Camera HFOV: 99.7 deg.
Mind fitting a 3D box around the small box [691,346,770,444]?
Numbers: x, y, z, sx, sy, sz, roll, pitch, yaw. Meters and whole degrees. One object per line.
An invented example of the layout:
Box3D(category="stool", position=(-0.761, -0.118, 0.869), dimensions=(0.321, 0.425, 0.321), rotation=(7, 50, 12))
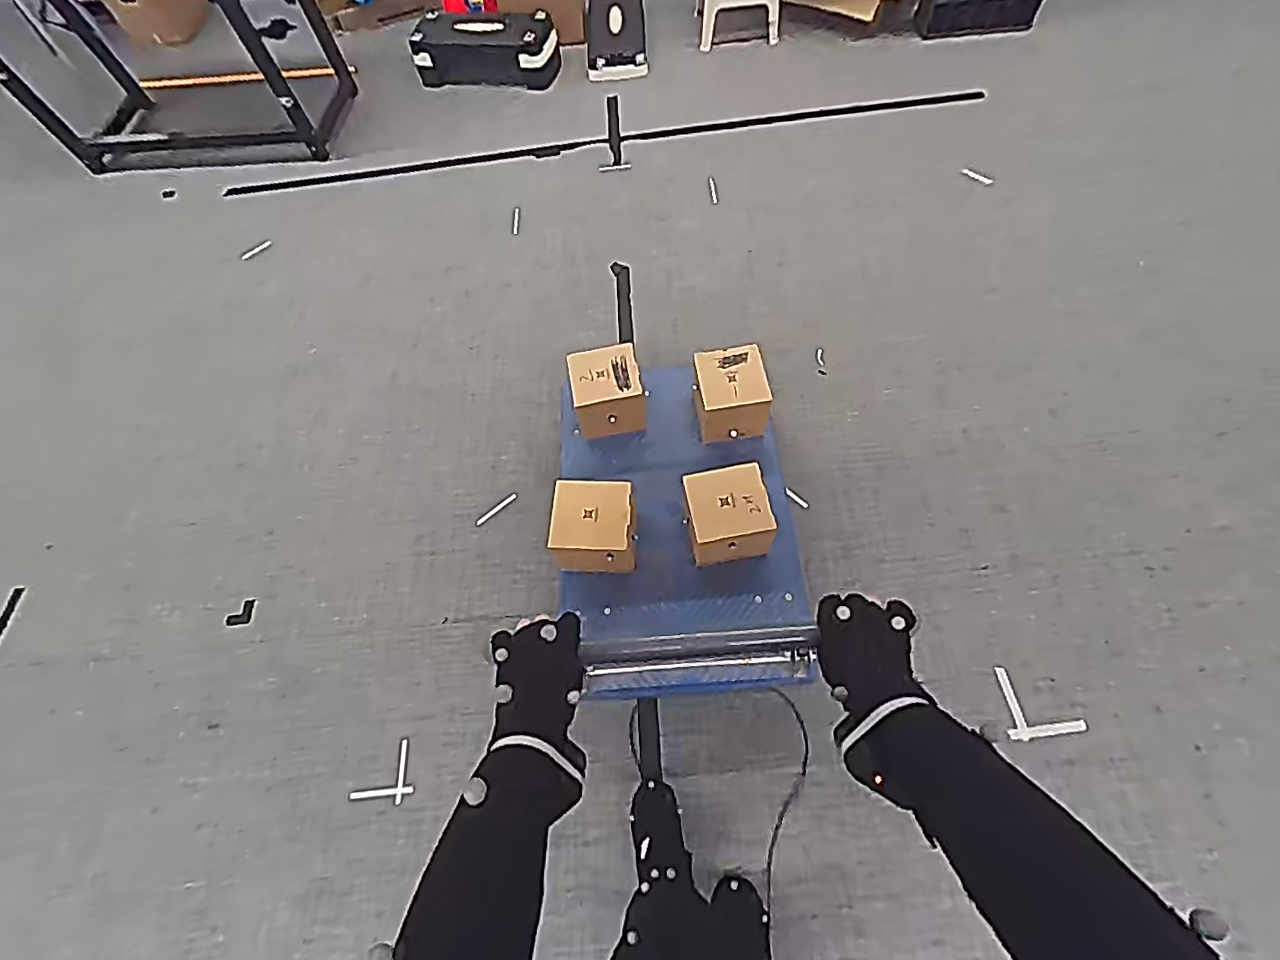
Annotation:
Box3D(category="small box", position=(0.225, -0.215, 1.392), dimensions=(0.168, 0.176, 0.179), rotation=(-9, 64, 1))

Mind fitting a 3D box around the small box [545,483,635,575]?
Box3D(category="small box", position=(-0.108, 0.118, 1.259), dimensions=(0.179, 0.176, 0.168), rotation=(1, 64, 4))

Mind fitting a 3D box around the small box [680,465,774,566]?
Box3D(category="small box", position=(0.195, 0.088, 1.246), dimensions=(0.179, 0.176, 0.168), rotation=(-11, 64, 0))
